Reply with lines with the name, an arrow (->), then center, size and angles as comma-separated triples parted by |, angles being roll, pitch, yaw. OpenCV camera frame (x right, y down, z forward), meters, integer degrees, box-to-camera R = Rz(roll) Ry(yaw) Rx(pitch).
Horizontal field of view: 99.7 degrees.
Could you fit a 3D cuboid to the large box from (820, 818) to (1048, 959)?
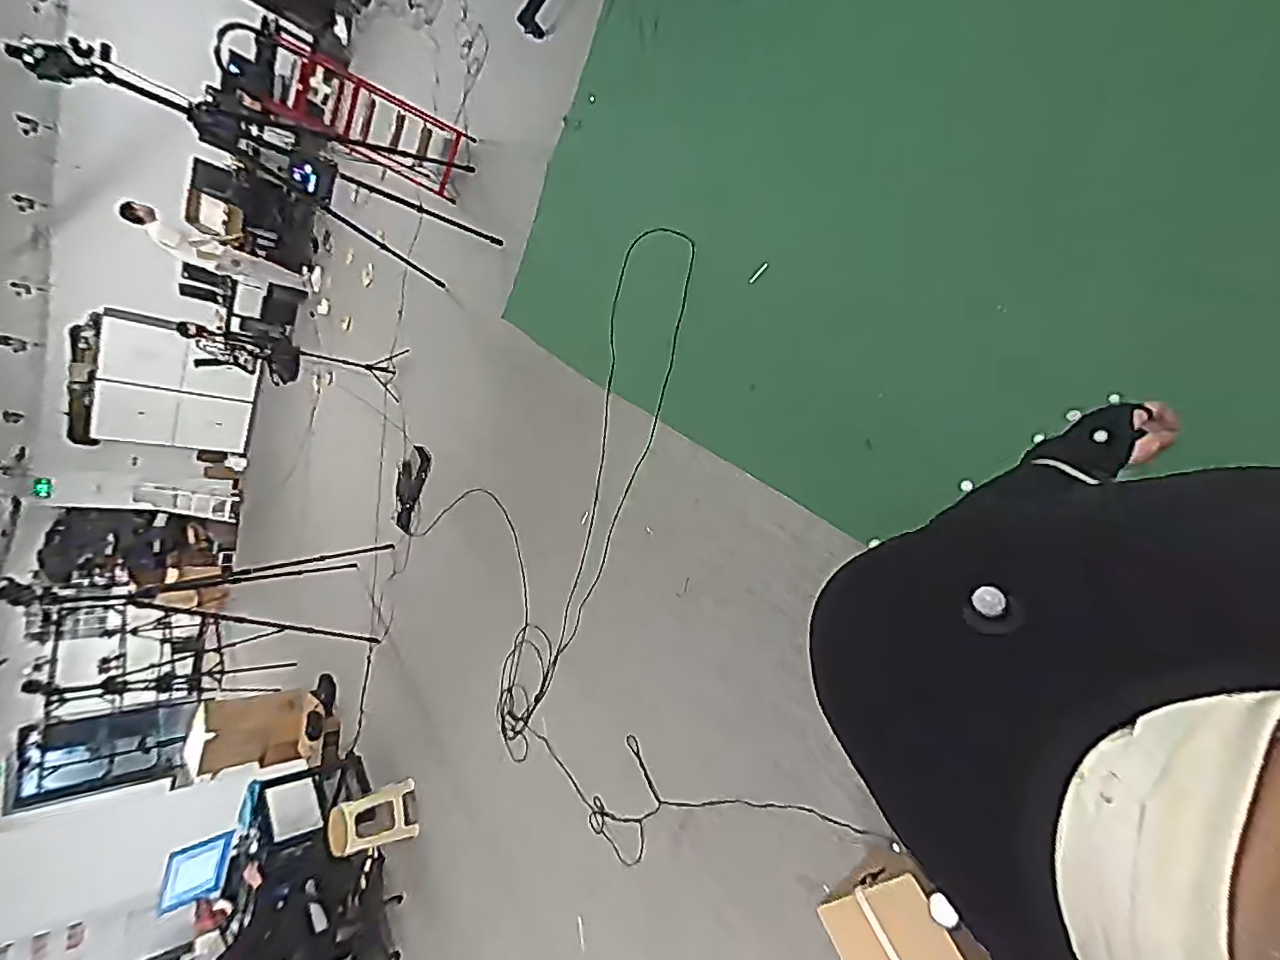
large box -> 0.735, 1.143, 1.325 | 0.320, 0.320, 0.408 | -50, 54, 30
